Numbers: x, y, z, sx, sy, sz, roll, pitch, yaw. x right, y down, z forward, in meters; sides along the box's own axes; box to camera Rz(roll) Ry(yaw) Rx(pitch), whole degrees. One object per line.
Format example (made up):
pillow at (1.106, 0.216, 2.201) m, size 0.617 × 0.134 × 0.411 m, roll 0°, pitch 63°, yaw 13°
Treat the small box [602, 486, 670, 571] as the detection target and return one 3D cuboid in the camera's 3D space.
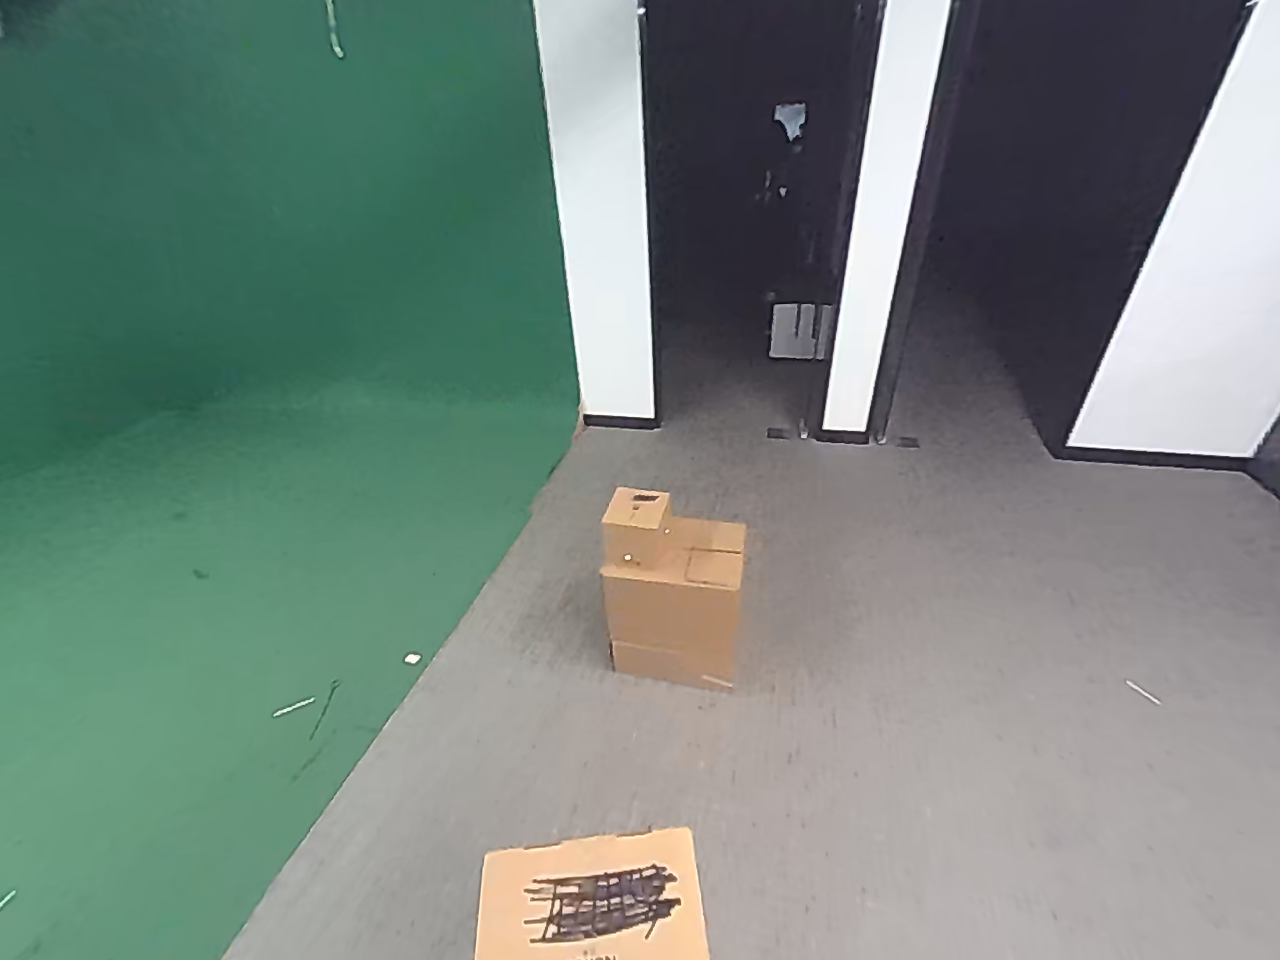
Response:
small box at (-0.007, 0.144, 1.623) m, size 0.168 × 0.176 × 0.179 m, roll 7°, pitch 37°, yaw 13°
